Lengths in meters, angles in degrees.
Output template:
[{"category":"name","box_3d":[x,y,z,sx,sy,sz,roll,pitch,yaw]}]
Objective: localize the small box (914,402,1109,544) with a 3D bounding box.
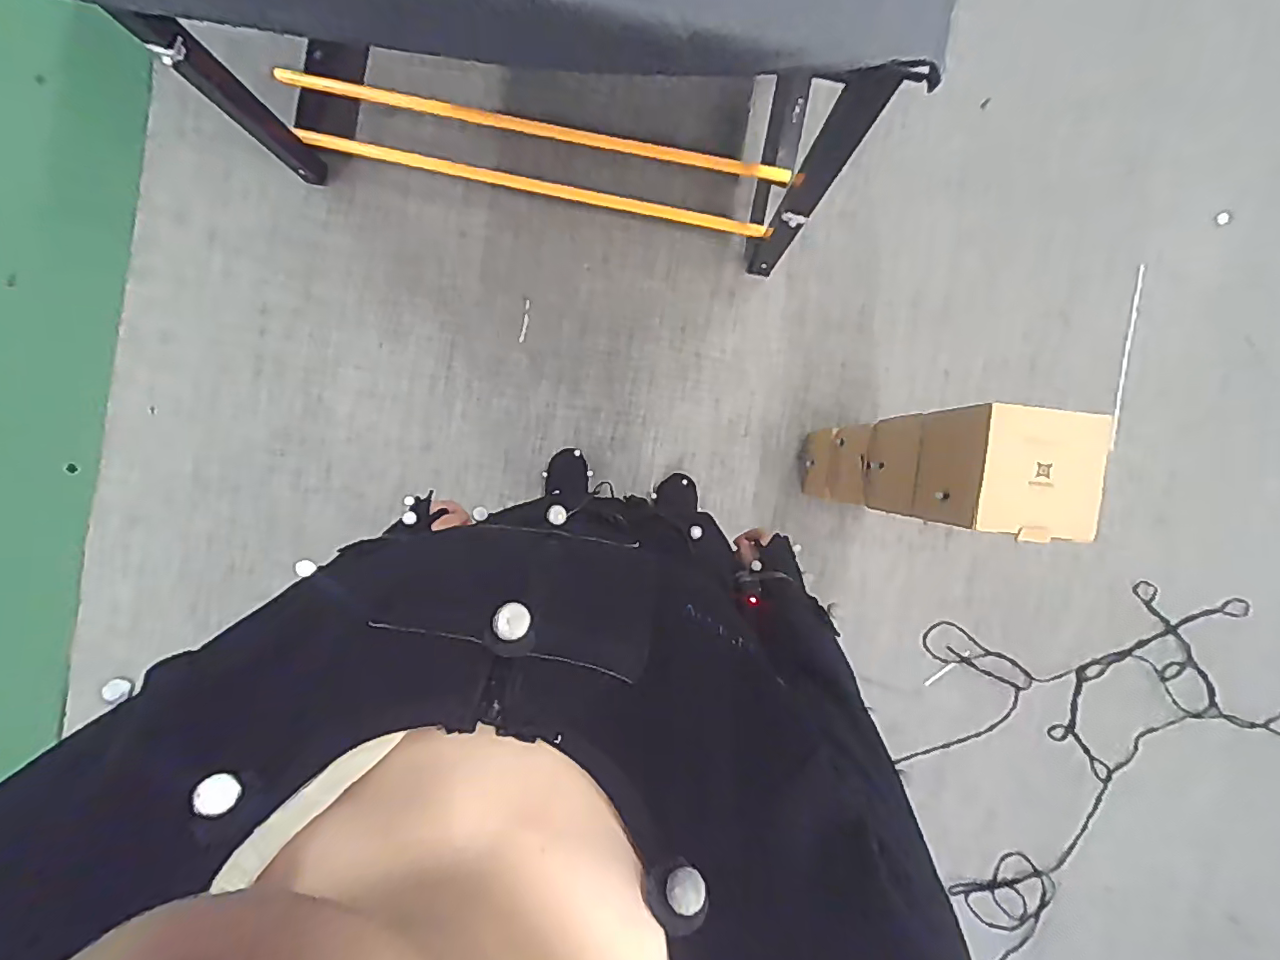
[{"category":"small box","box_3d":[0.531,-0.011,0.799,0.168,0.176,0.179,6,91,-2]}]

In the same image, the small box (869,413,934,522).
[{"category":"small box","box_3d":[0.527,-0.019,0.962,0.168,0.176,0.179,6,92,-1]}]

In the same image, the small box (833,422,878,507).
[{"category":"small box","box_3d":[0.521,-0.024,1.125,0.179,0.176,0.168,5,92,-2]}]

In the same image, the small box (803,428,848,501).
[{"category":"small box","box_3d":[0.507,-0.031,1.289,0.179,0.176,0.168,5,91,0]}]
